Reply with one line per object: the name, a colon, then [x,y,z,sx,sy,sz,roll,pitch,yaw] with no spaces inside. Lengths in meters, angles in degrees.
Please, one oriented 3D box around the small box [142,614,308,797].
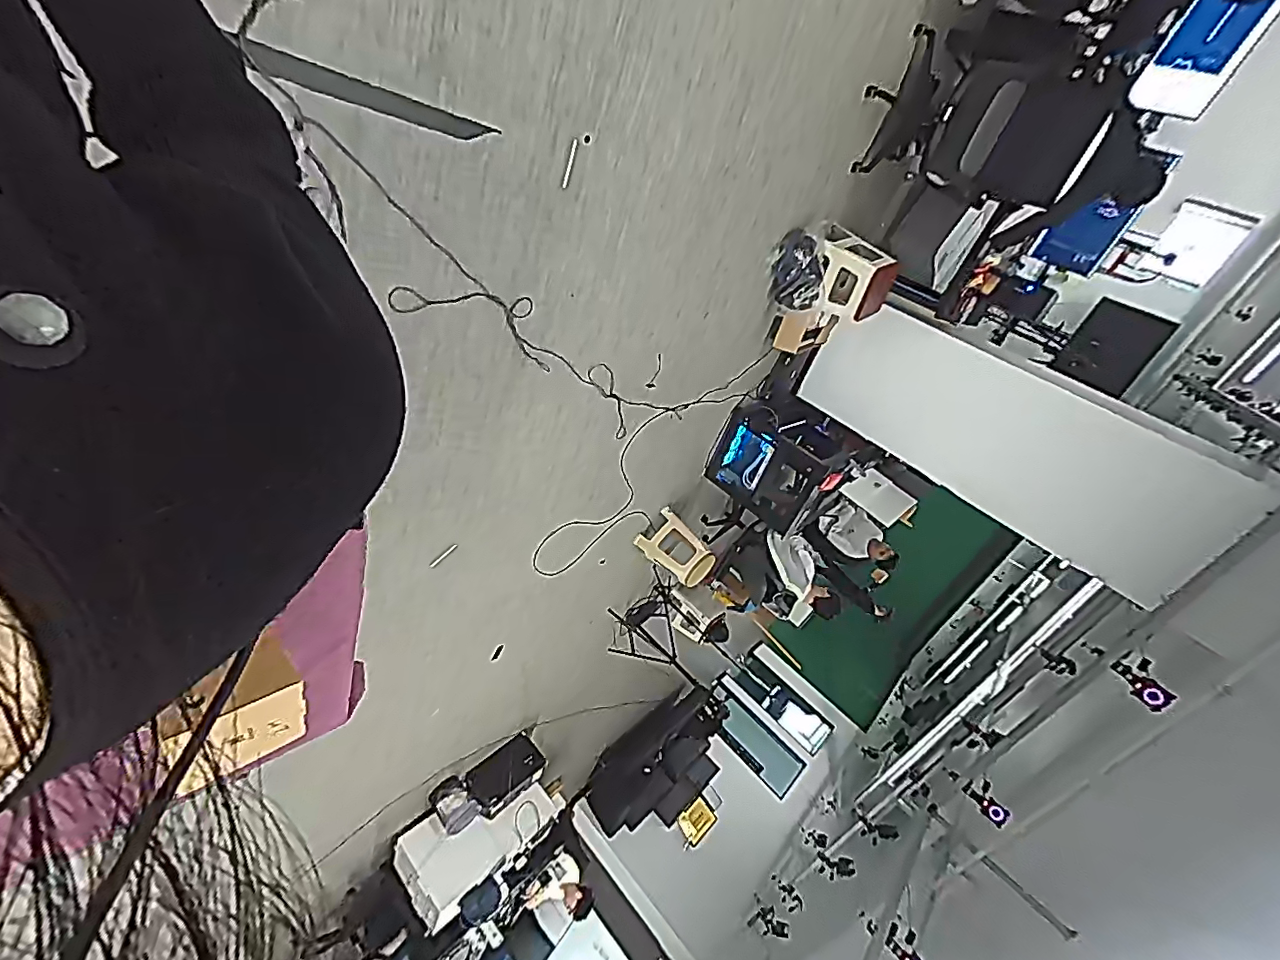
small box: [-0.664,0.352,0.871,0.179,0.176,0.168,-20,141,-46]
